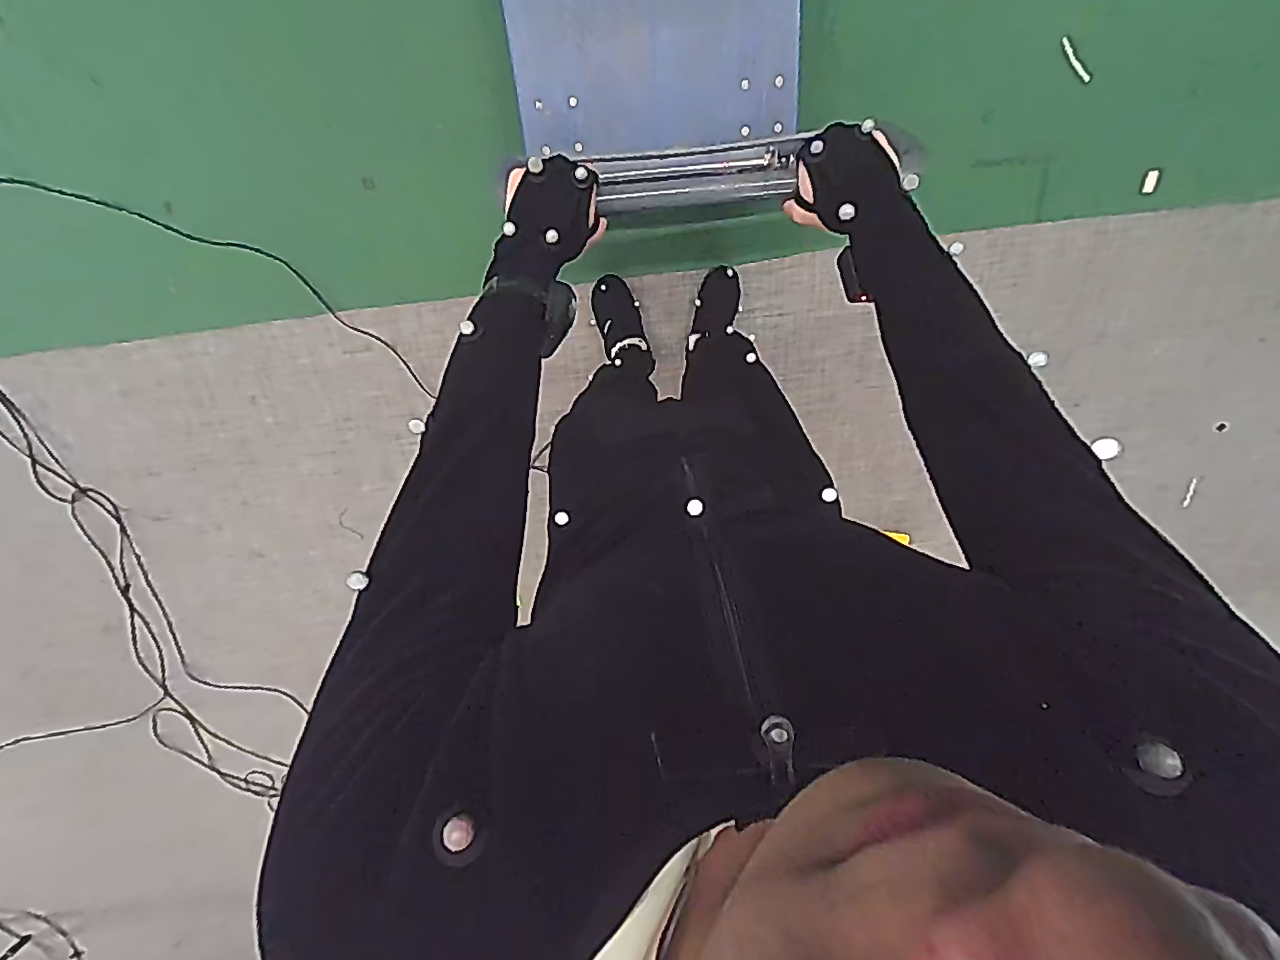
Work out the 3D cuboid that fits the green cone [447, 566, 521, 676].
[{"bbox_3d":[-0.525,0.461,1.698,0.202,0.368,0.200,-9,116,5],"label":"green cone"}]
